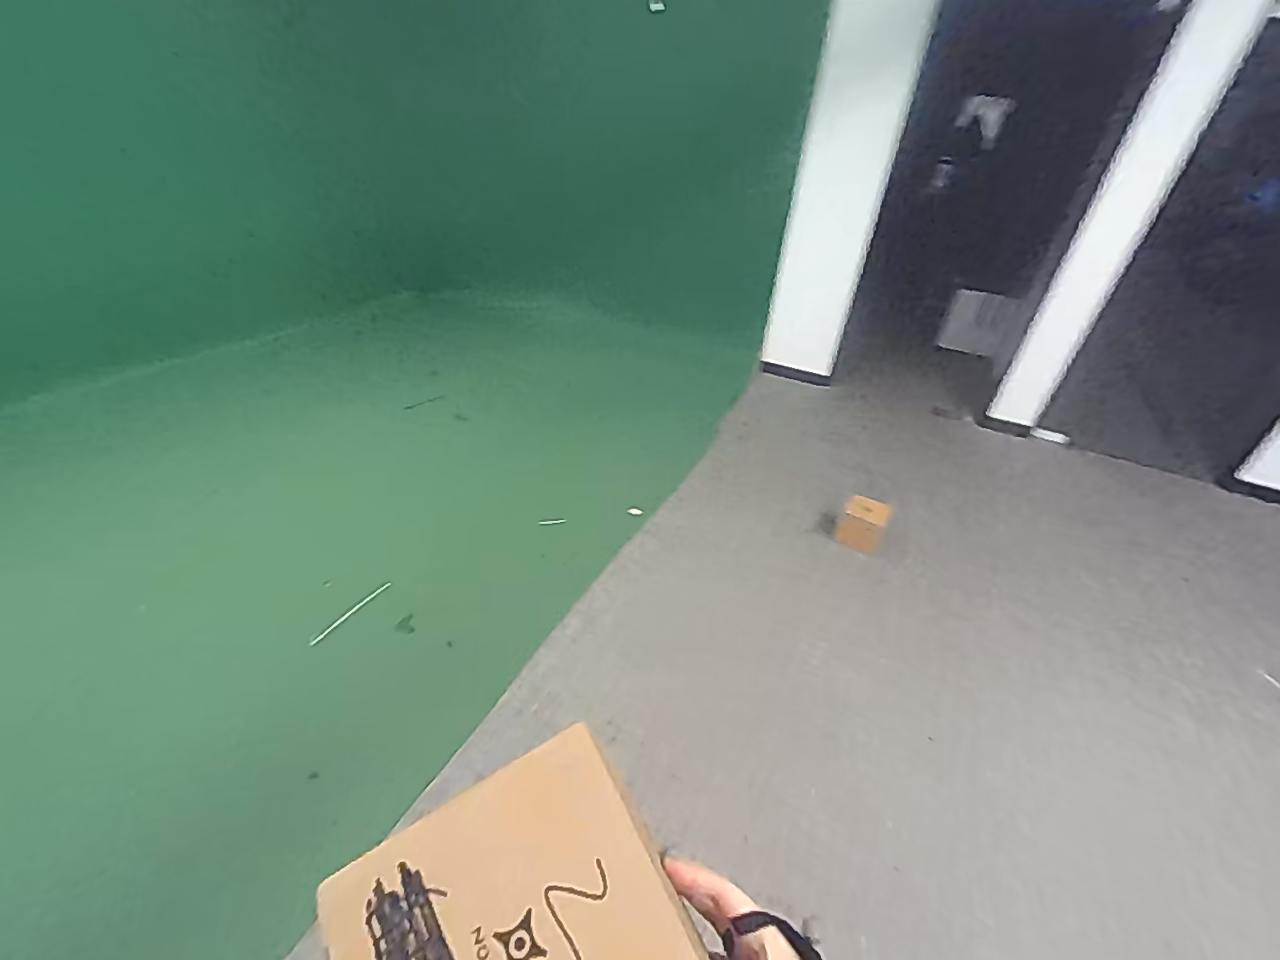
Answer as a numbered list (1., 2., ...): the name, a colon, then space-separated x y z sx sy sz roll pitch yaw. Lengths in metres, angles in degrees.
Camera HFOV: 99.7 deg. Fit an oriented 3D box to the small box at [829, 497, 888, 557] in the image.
1. small box: 0.945 0.209 2.344 0.179 0.176 0.168 23 39 24
